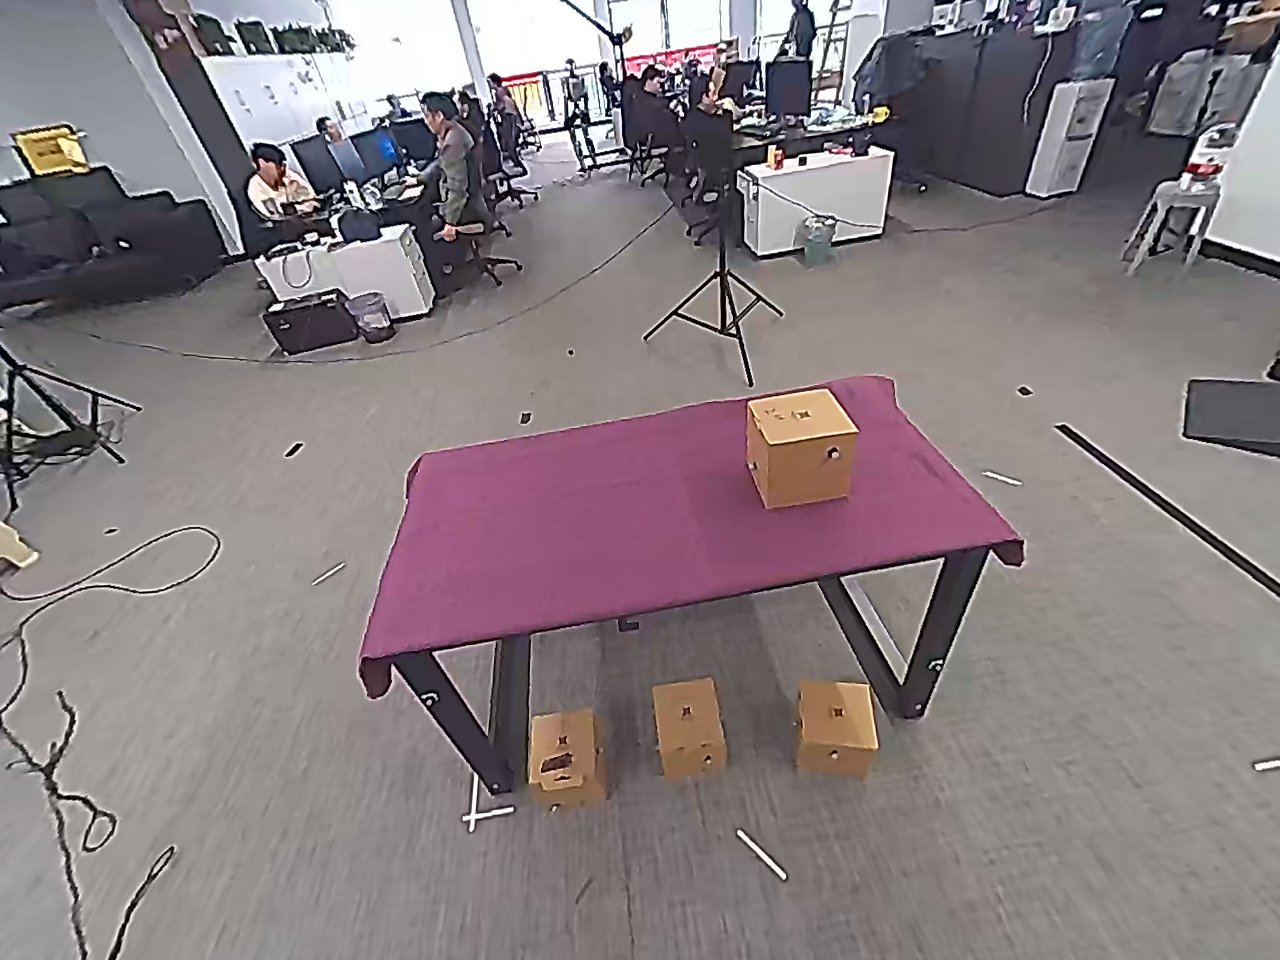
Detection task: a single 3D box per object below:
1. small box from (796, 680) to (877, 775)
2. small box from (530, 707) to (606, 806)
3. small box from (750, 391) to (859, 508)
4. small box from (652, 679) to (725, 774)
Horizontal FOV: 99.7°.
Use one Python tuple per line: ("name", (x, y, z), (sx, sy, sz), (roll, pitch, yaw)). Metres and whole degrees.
("small box", (0.500, 0.643, 1.401), (0.179, 0.176, 0.168), (0, 41, 13))
("small box", (-0.186, 0.734, 1.424), (0.168, 0.176, 0.179), (-9, 38, 0))
("small box", (0.332, -0.062, 1.130), (0.179, 0.176, 0.168), (-9, 39, 1))
("small box", (0.130, 0.665, 1.447), (0.168, 0.176, 0.179), (-8, 38, 0))
